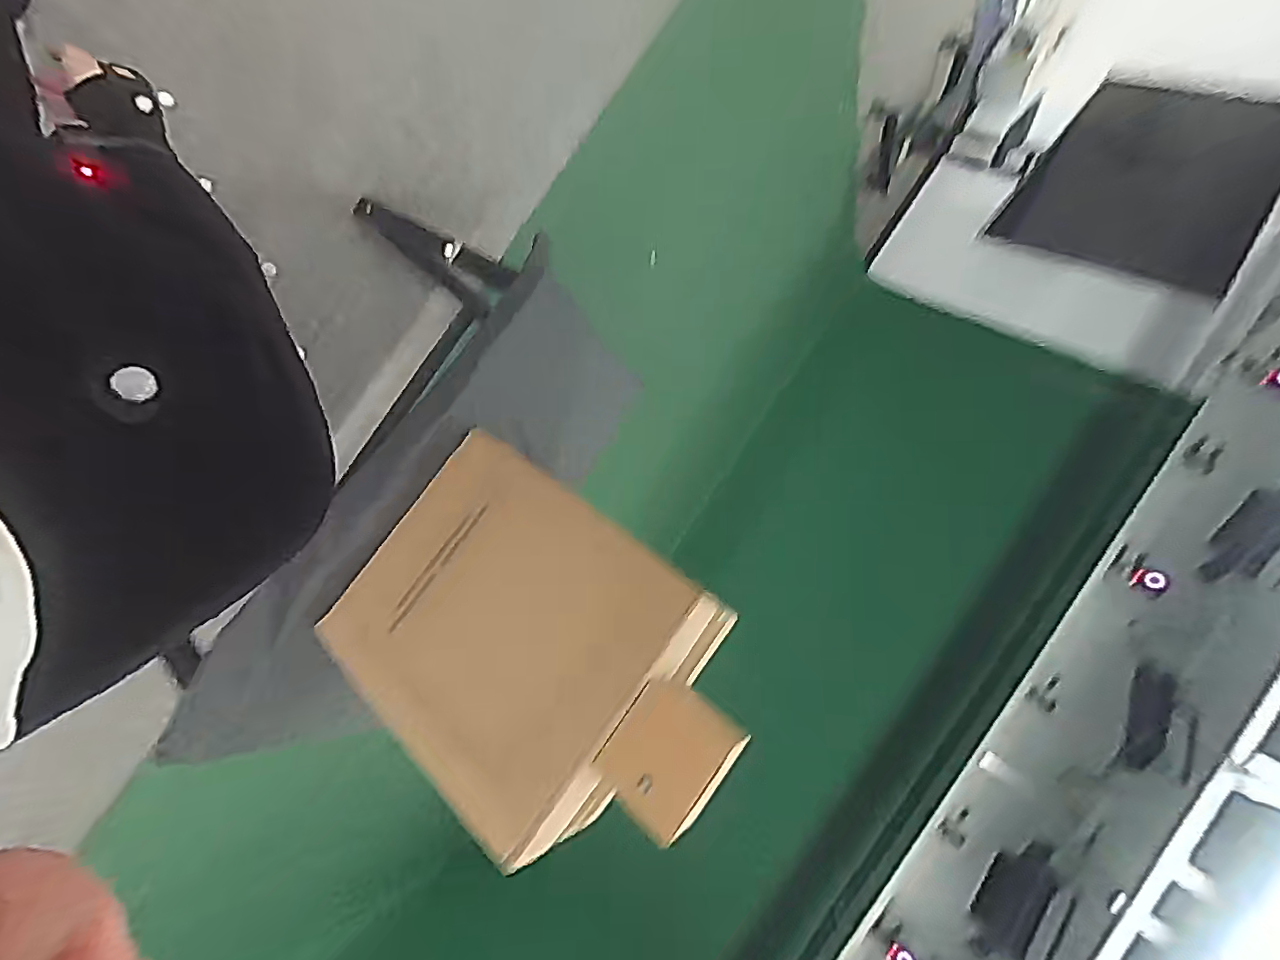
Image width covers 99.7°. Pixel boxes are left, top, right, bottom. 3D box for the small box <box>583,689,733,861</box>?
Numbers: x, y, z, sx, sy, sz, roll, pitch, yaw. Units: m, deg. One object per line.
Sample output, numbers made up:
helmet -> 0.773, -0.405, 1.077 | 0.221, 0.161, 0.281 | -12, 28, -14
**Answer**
small box -> 0.027, 0.479, 0.906 | 0.179, 0.176, 0.168 | -55, 153, -6
